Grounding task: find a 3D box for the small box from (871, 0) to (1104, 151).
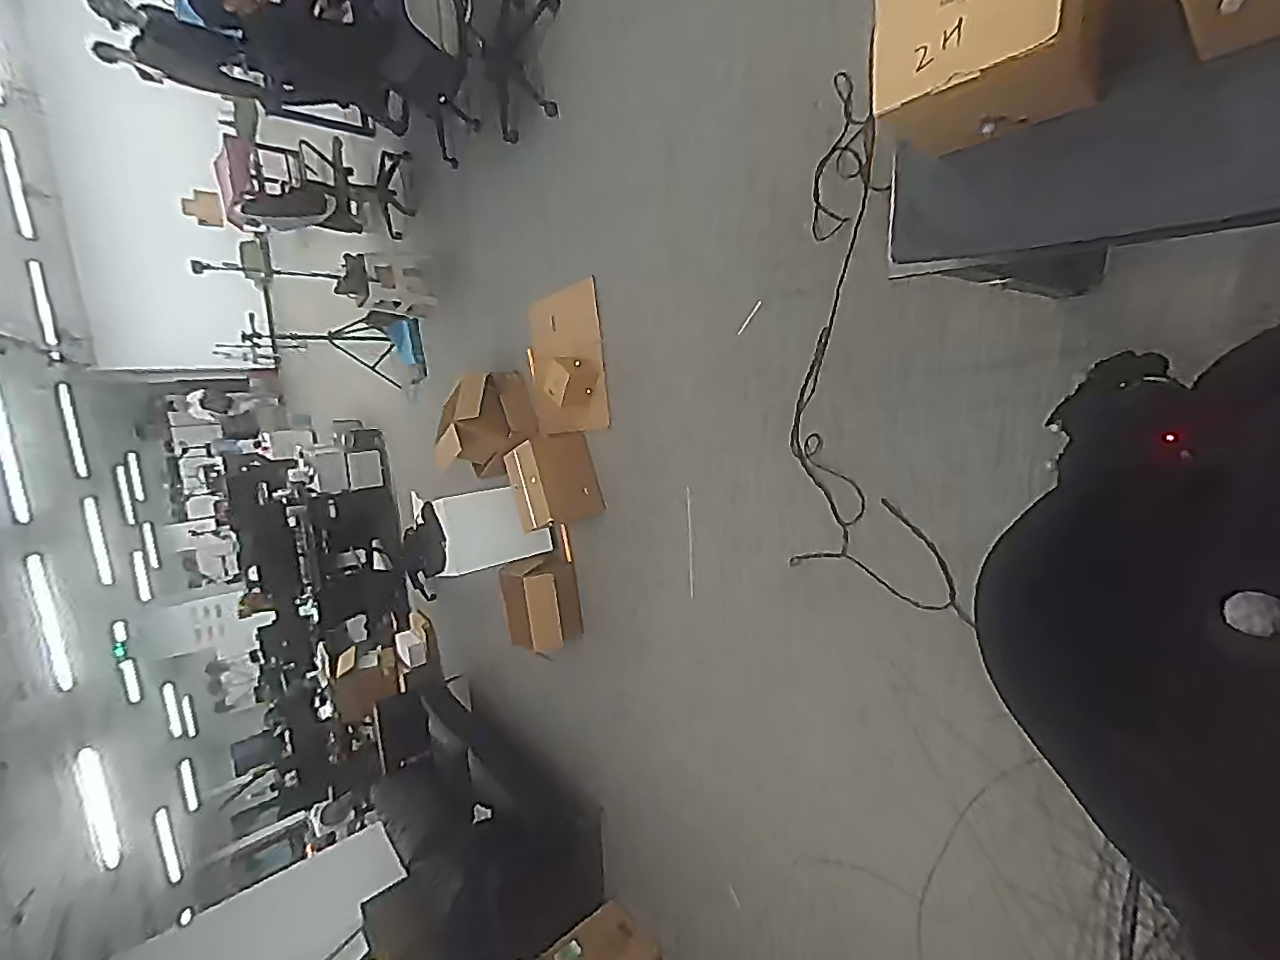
[{"bbox_3d":[0.363,-0.483,0.566,0.168,0.176,0.179,7,103,48],"label":"small box"}]
